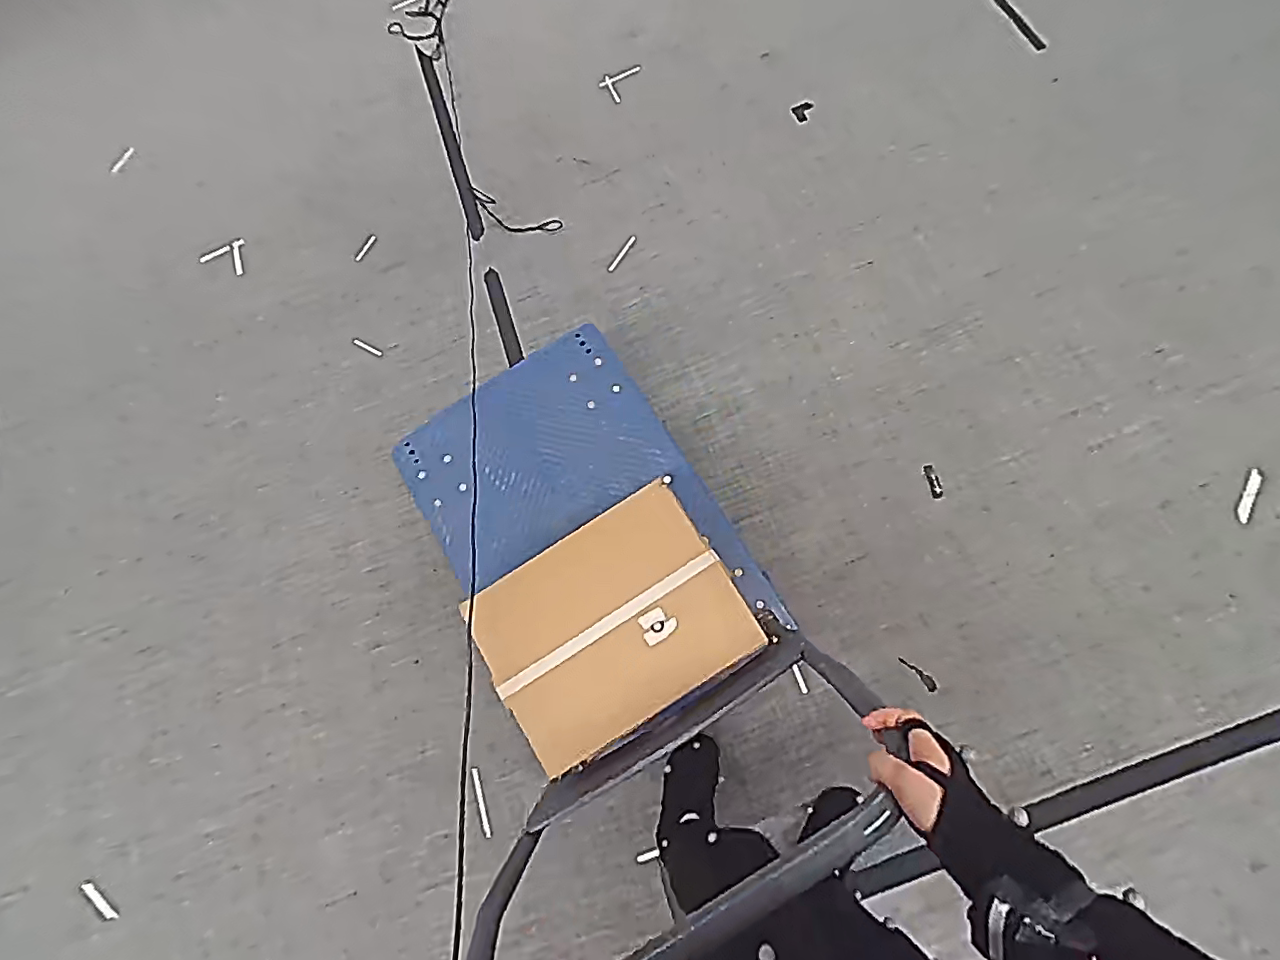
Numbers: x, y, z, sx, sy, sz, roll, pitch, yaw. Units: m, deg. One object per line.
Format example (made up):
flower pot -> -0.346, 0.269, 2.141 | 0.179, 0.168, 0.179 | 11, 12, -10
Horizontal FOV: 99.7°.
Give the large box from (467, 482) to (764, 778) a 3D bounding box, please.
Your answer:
large box -> -0.034, 0.265, 1.023 | 0.408, 0.320, 0.320 | -33, 79, -2
